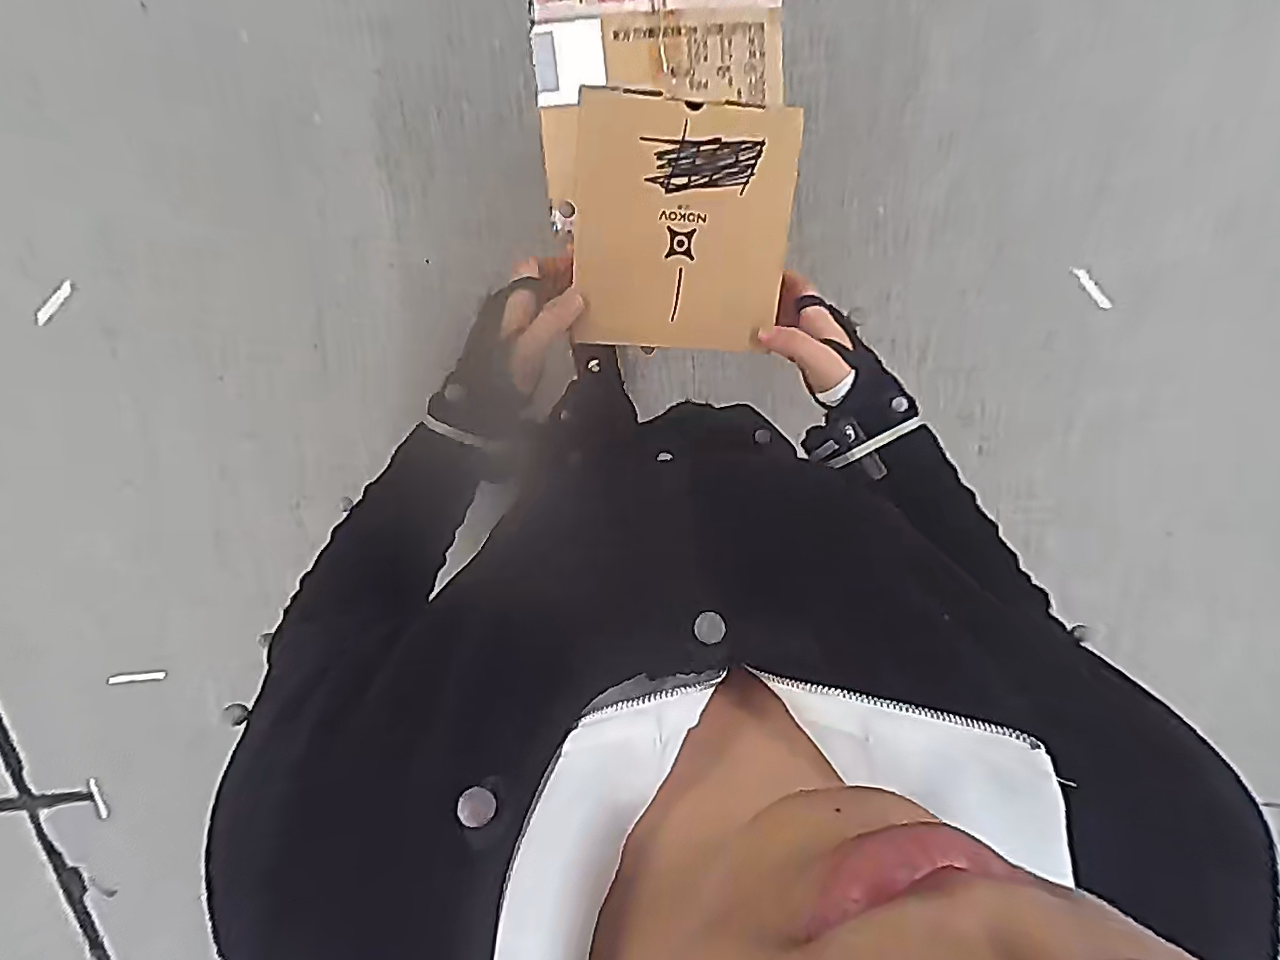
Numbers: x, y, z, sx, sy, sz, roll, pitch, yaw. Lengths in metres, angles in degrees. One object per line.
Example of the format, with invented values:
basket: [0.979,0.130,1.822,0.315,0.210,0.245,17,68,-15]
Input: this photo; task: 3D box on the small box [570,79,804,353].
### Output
small box: [0.024,-0.215,0.482,0.168,0.176,0.179,2,109,-7]
